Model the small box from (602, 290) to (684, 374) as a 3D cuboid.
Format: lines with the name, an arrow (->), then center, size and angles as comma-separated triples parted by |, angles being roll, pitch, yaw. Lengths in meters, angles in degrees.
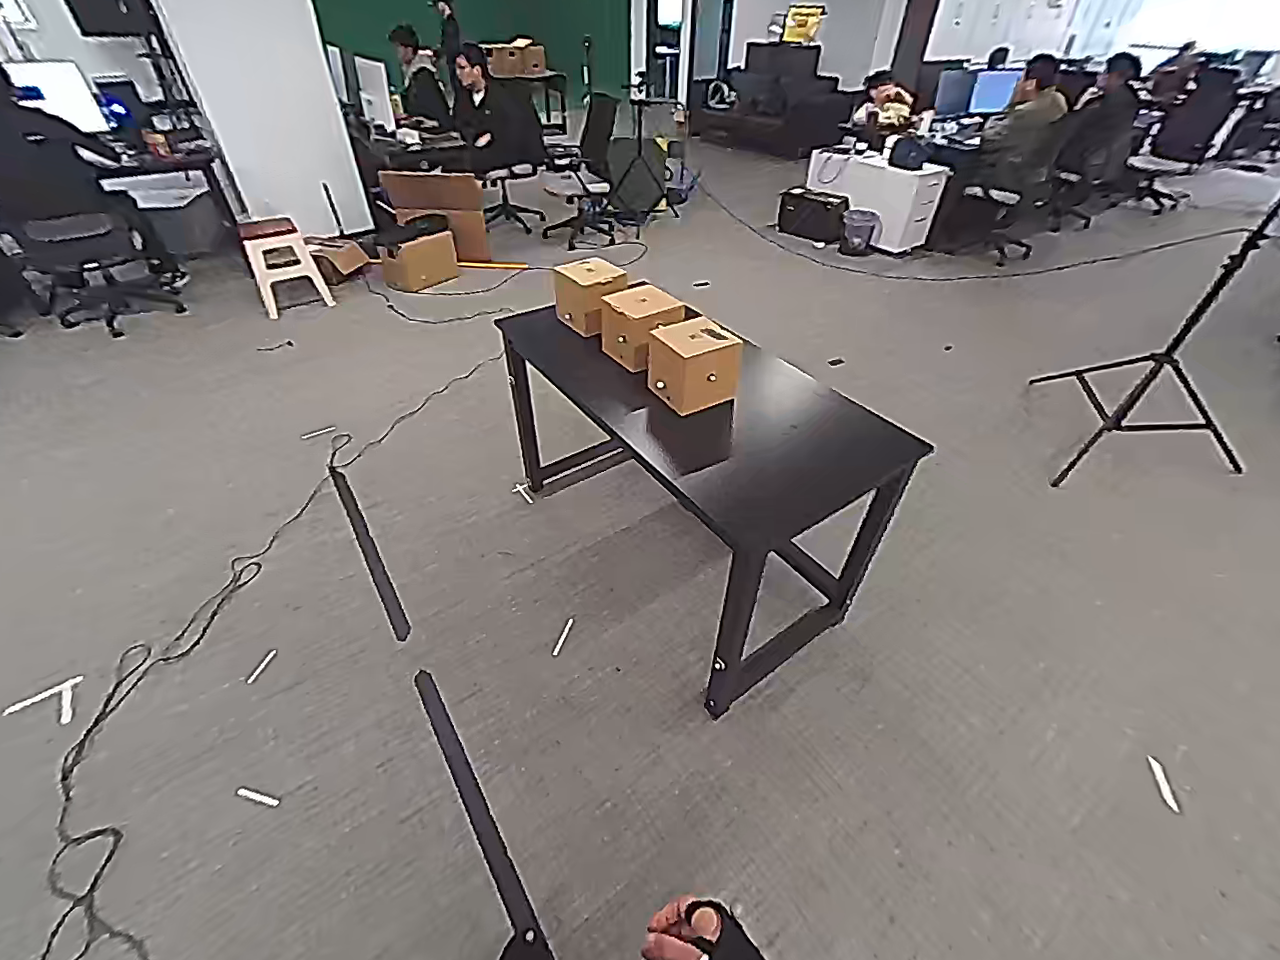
small box -> 0.007, -0.427, 1.563 | 0.179, 0.176, 0.168 | -24, 48, -28

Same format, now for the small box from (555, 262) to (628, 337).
small box -> -0.152, -0.569, 1.717 | 0.168, 0.176, 0.179 | -26, 49, -28

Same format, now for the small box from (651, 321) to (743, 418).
small box -> 0.140, -0.287, 1.405 | 0.179, 0.176, 0.168 | -22, 46, -23
